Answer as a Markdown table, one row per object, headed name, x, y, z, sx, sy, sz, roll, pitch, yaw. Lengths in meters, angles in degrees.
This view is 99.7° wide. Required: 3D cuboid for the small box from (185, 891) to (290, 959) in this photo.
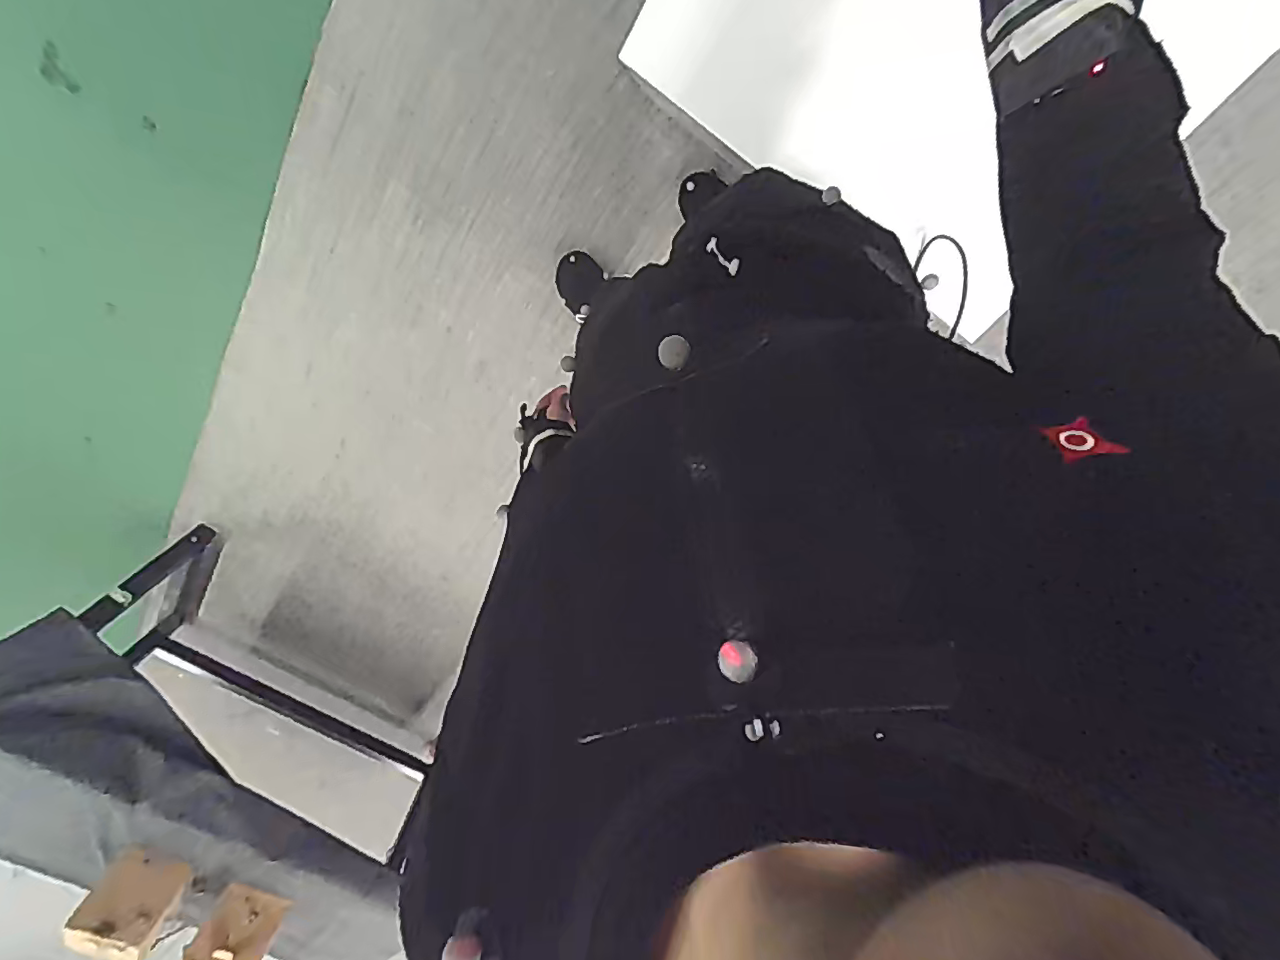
| name | x | y | z | sx | sy | sz | roll | pitch | yaw |
| --- | --- | --- | --- | --- | --- | --- | --- | --- | --- |
| small box | -1.021 | 1.183 | 1.362 | 0.168 | 0.176 | 0.179 | 27 | 120 | -10 |
